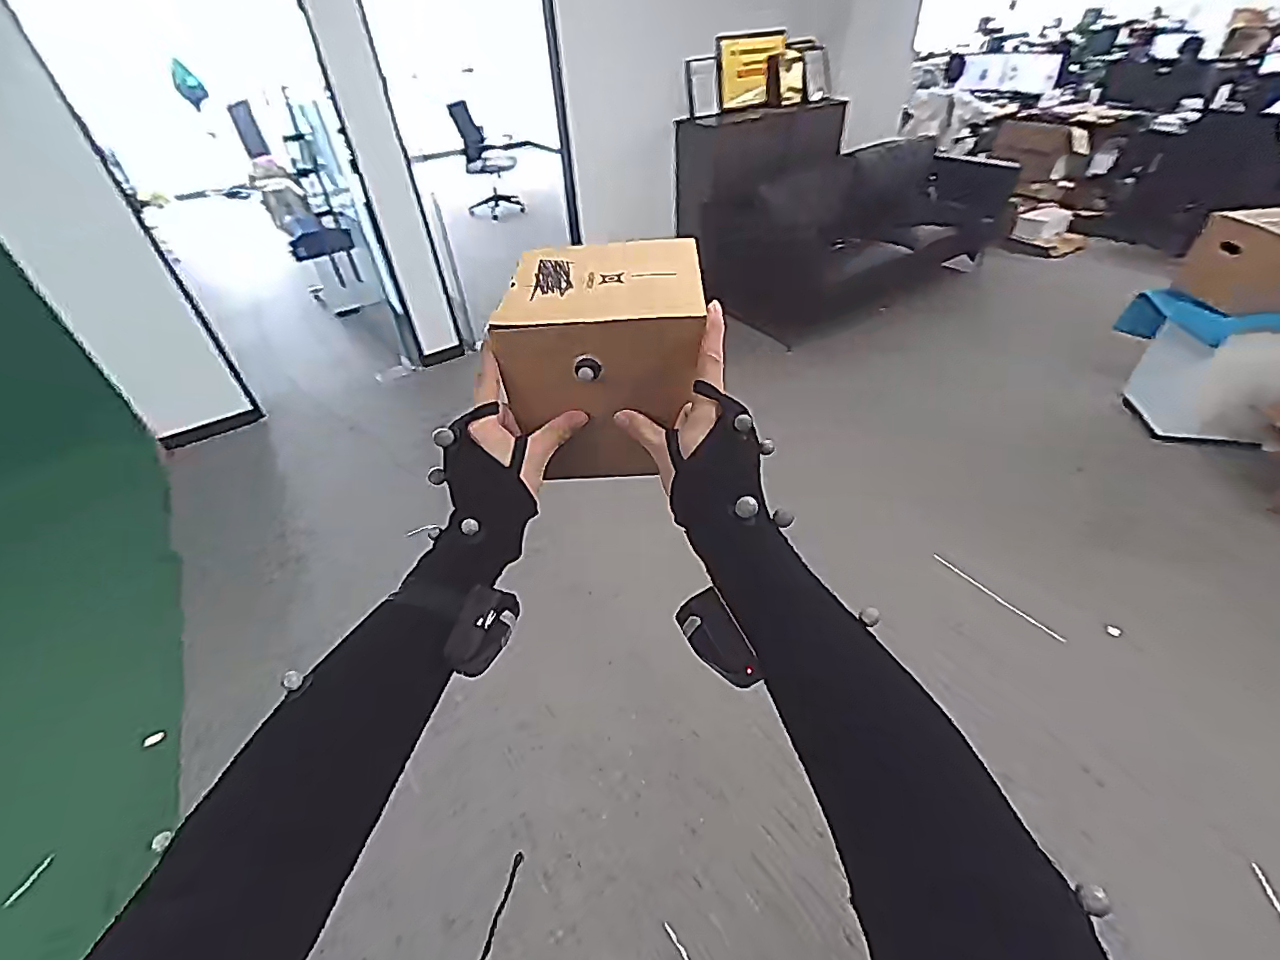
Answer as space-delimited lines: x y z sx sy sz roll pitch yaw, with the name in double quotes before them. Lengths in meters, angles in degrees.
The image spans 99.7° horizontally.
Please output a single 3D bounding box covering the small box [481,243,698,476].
"small box" -0.034 -0.116 0.537 0.179 0.176 0.168 -2 42 3
